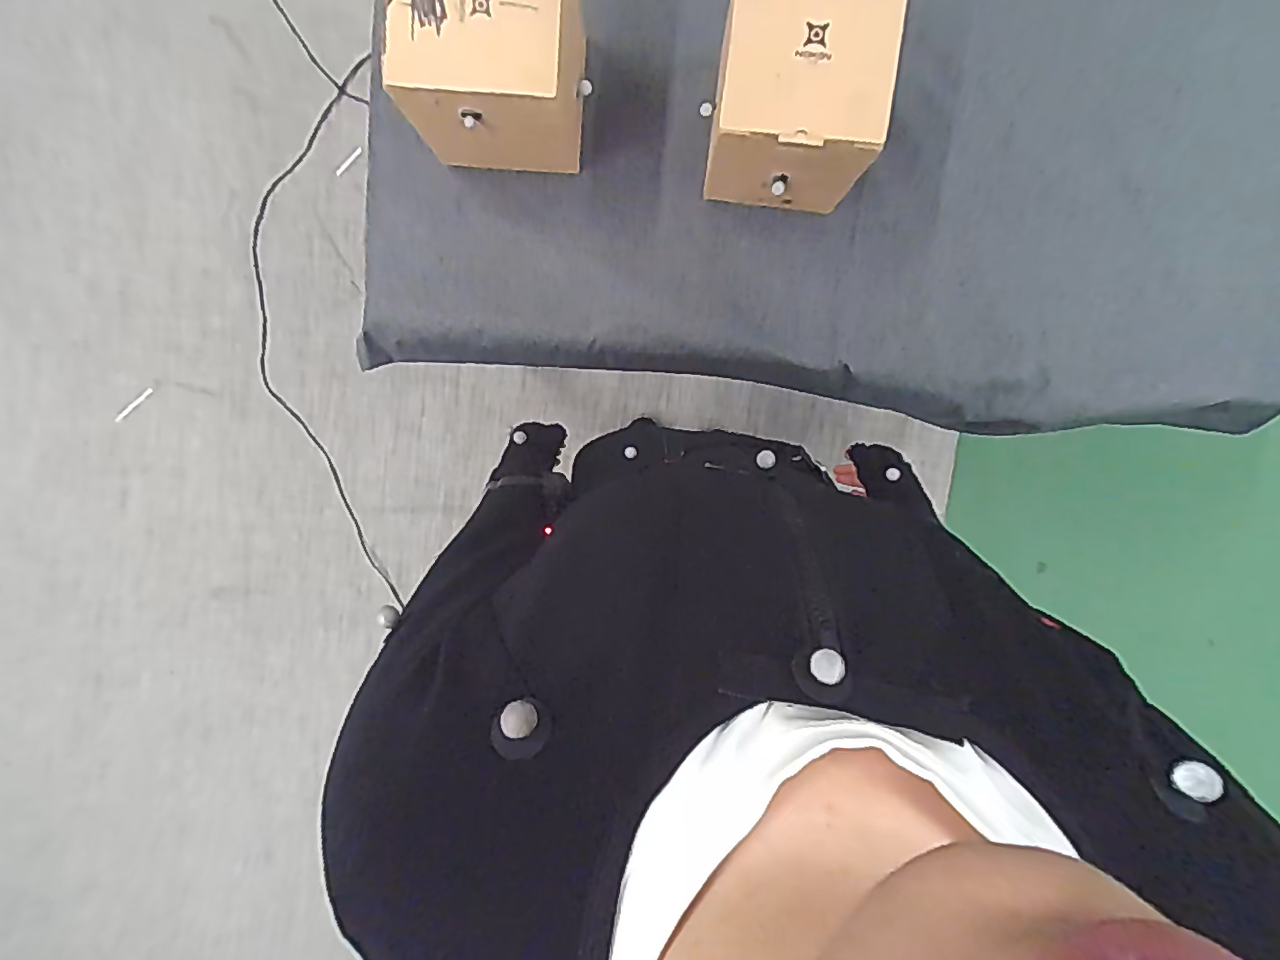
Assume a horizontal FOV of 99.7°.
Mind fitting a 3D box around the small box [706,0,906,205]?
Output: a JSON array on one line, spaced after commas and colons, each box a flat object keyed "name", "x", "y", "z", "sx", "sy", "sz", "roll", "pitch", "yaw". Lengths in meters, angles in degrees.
[{"name": "small box", "x": 0.169, "y": -0.429, "z": 0.600, "sx": 0.168, "sy": 0.176, "sz": 0.179, "roll": 7, "pitch": 97, "yaw": 1}]

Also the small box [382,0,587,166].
[{"name": "small box", "x": -0.160, "y": -0.475, "z": 0.601, "sx": 0.179, "sy": 0.176, "sz": 0.168, "roll": 4, "pitch": 97, "yaw": 0}]
